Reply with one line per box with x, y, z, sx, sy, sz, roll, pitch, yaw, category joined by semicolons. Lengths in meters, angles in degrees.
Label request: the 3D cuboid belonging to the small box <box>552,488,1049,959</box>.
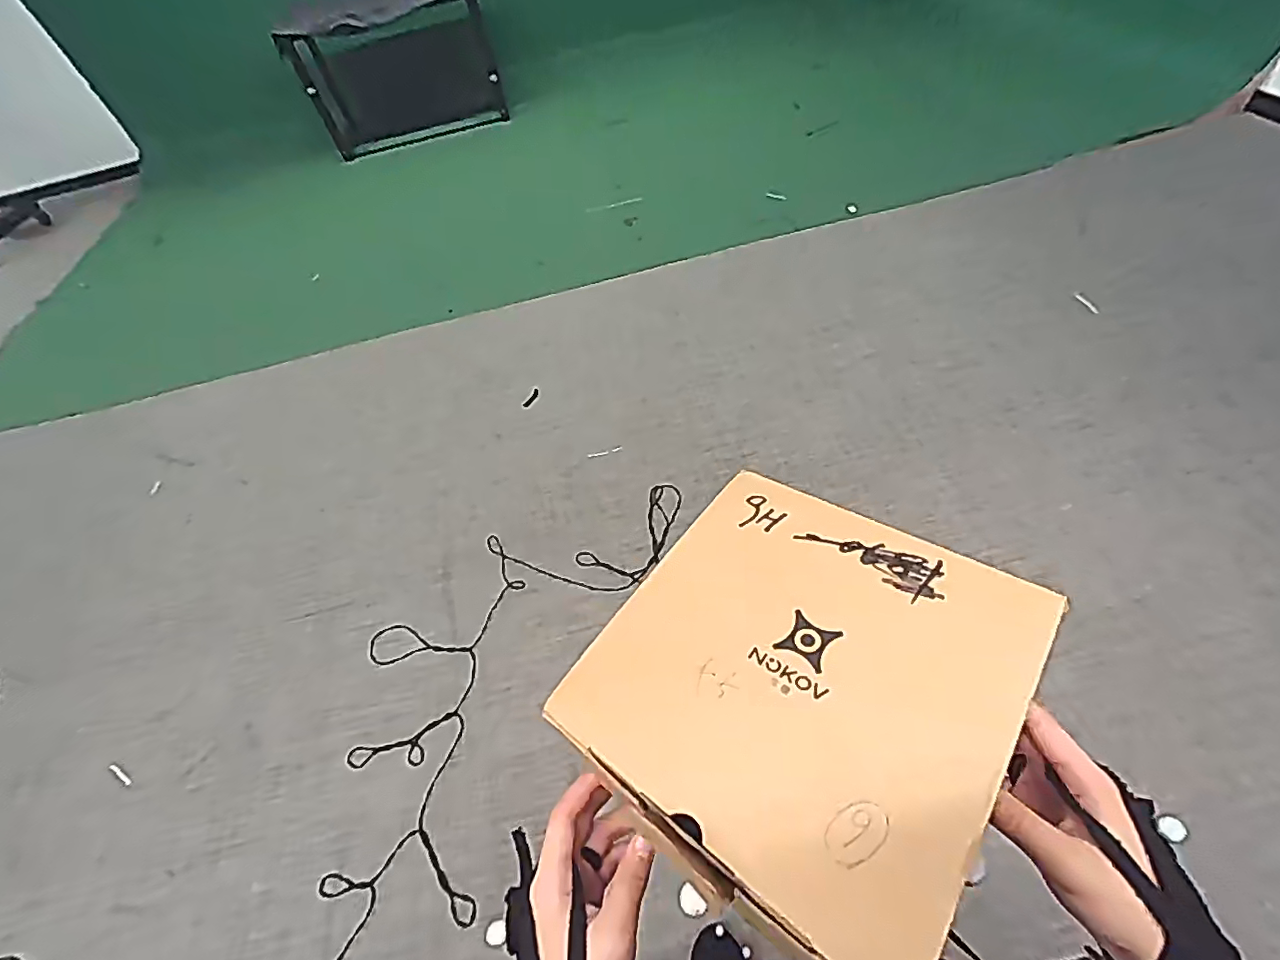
0.087;0.142;0.306;0.168;0.176;0.179;25;58;33;small box
